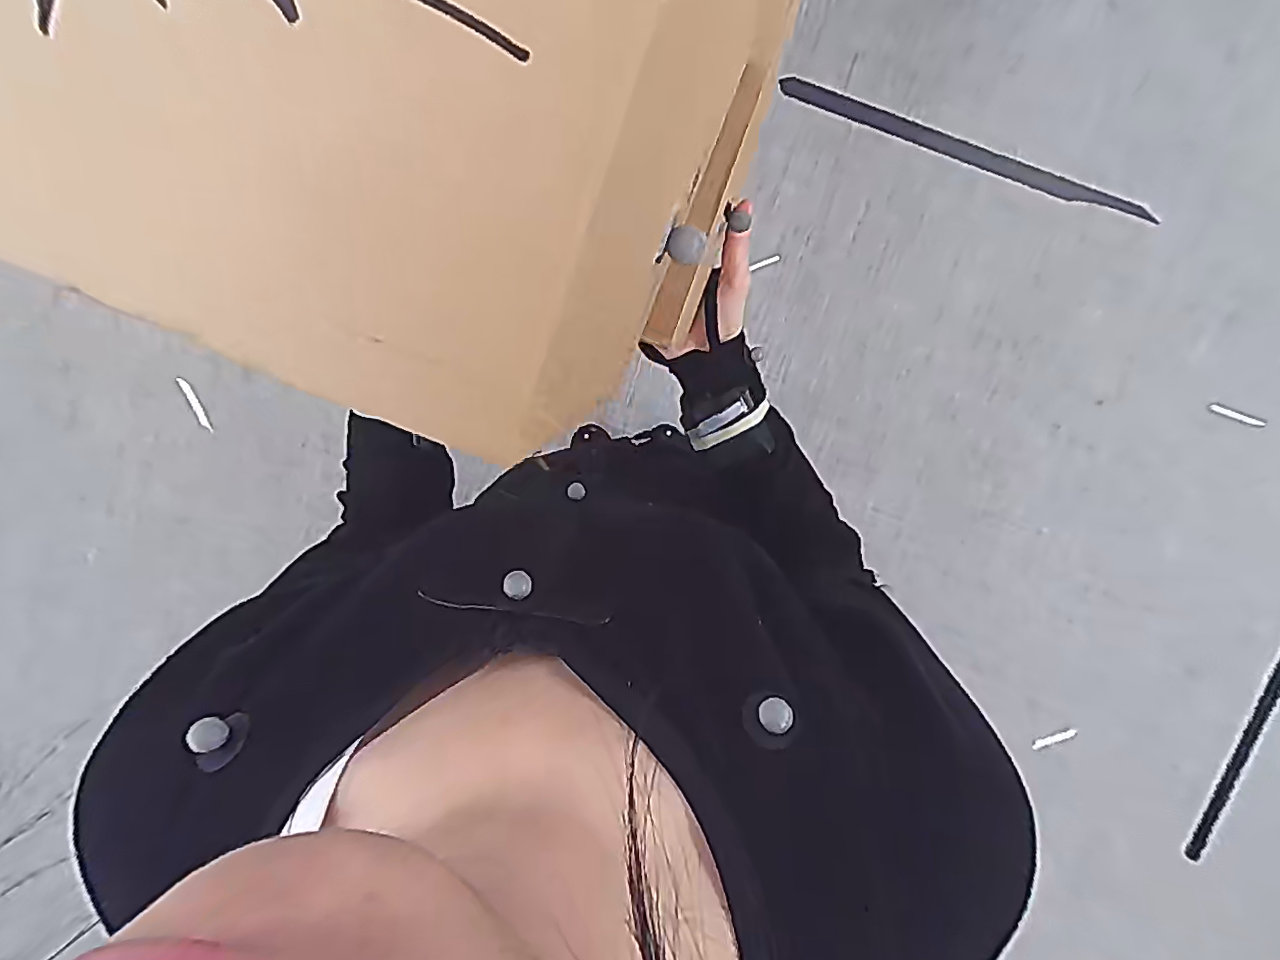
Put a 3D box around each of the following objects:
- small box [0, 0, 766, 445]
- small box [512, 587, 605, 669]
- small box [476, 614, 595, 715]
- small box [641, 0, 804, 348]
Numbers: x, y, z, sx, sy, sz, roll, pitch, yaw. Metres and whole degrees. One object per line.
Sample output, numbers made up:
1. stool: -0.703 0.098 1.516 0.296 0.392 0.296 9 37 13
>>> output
1. small box: -0.067 -0.130 0.183 0.179 0.176 0.168 24 105 -1
2. small box: -0.170 0.315 0.977 0.168 0.176 0.179 24 95 -1
3. small box: -0.173 0.328 0.815 0.168 0.176 0.179 21 96 -2
4. small box: -0.020 -0.192 0.333 0.168 0.176 0.179 20 105 1
